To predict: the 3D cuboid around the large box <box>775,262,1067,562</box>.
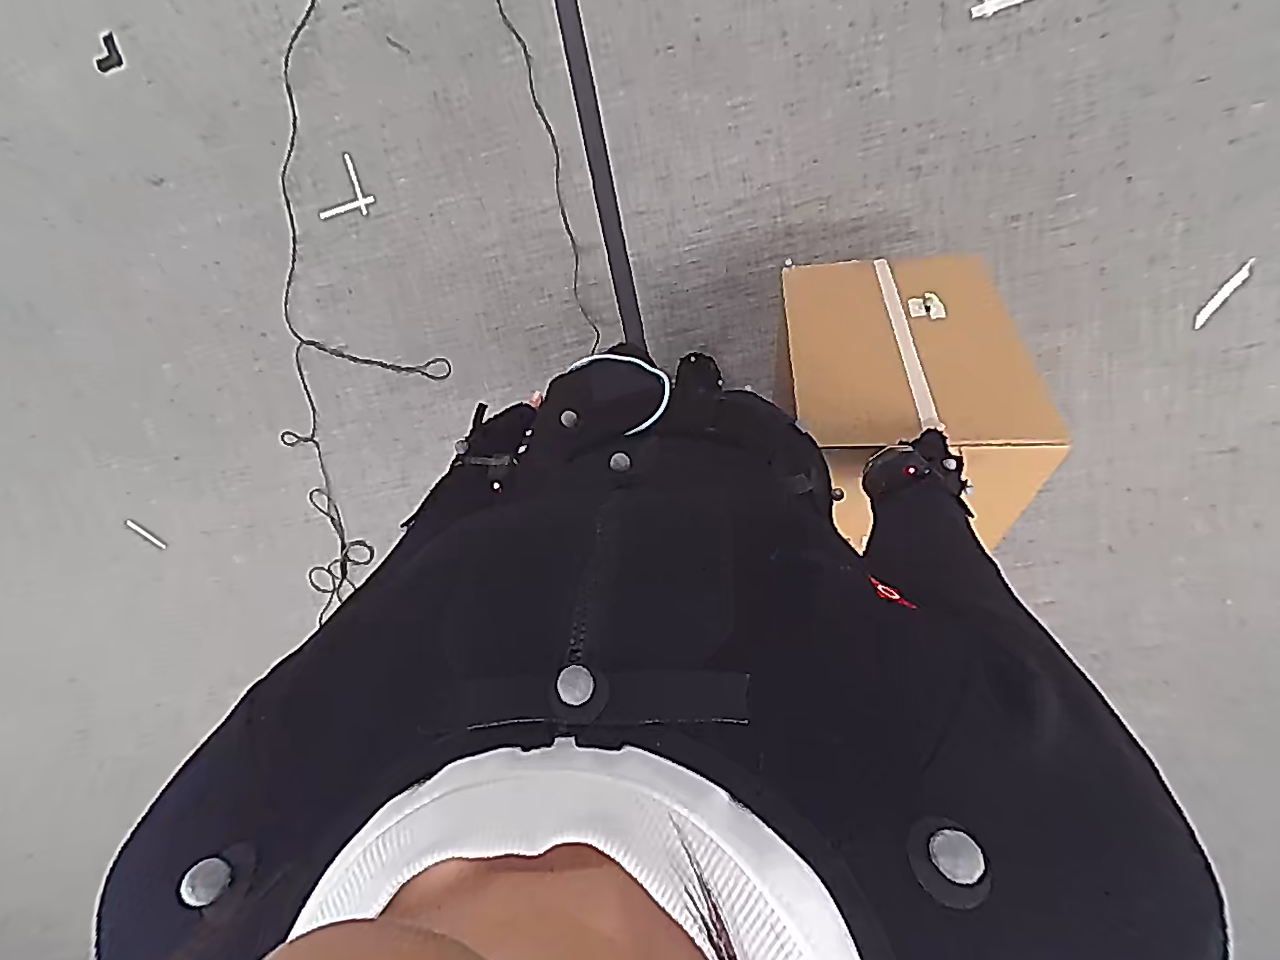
[{"bbox_3d":[0.404,-0.107,0.910,0.320,0.408,0.320,0,143,8],"label":"large box"}]
